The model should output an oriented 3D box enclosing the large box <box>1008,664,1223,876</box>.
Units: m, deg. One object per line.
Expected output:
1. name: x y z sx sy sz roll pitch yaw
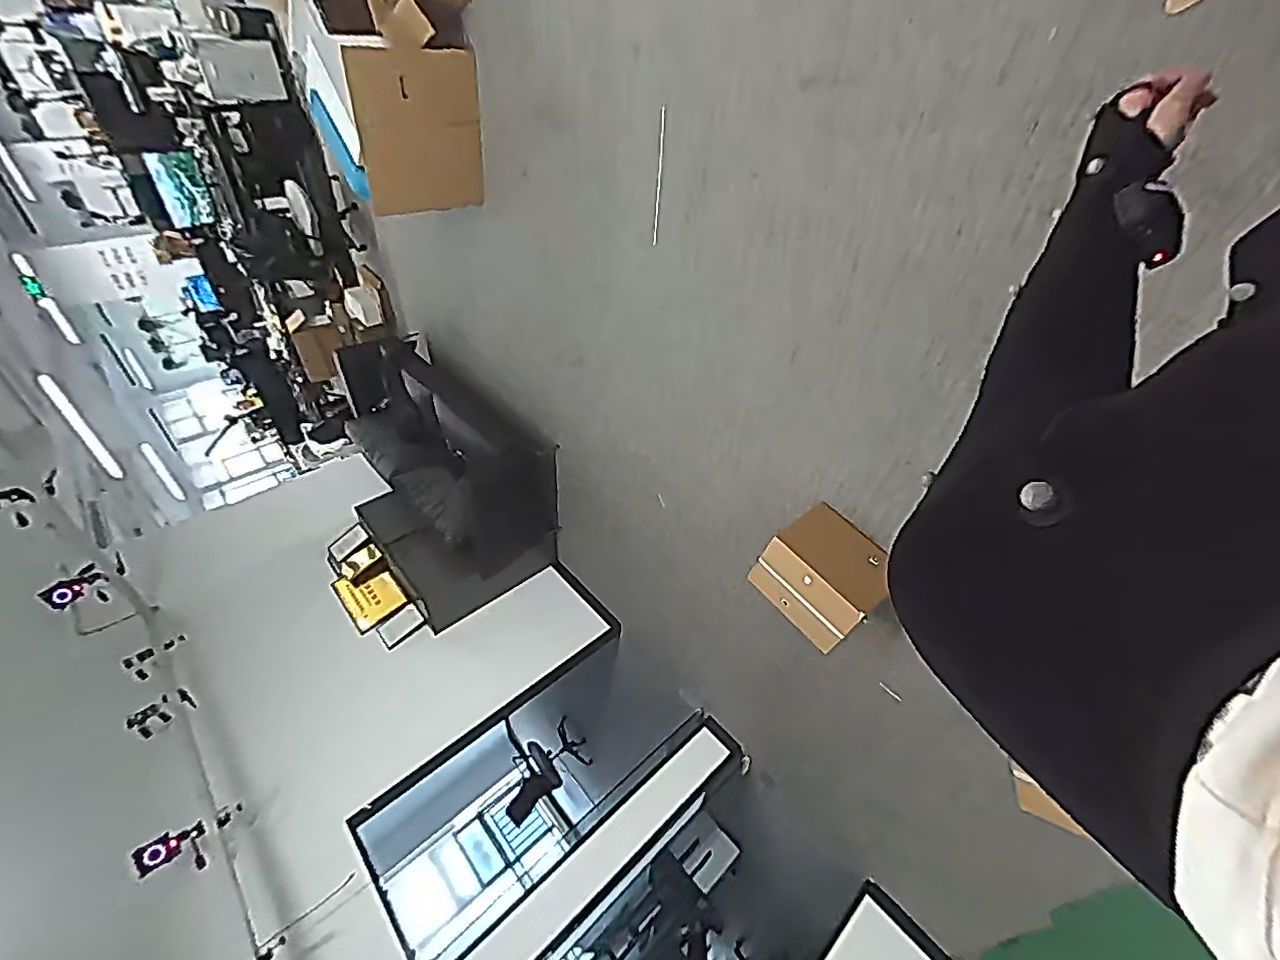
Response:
1. large box: 1.349 0.784 1.541 0.408 0.320 0.320 2 117 52
